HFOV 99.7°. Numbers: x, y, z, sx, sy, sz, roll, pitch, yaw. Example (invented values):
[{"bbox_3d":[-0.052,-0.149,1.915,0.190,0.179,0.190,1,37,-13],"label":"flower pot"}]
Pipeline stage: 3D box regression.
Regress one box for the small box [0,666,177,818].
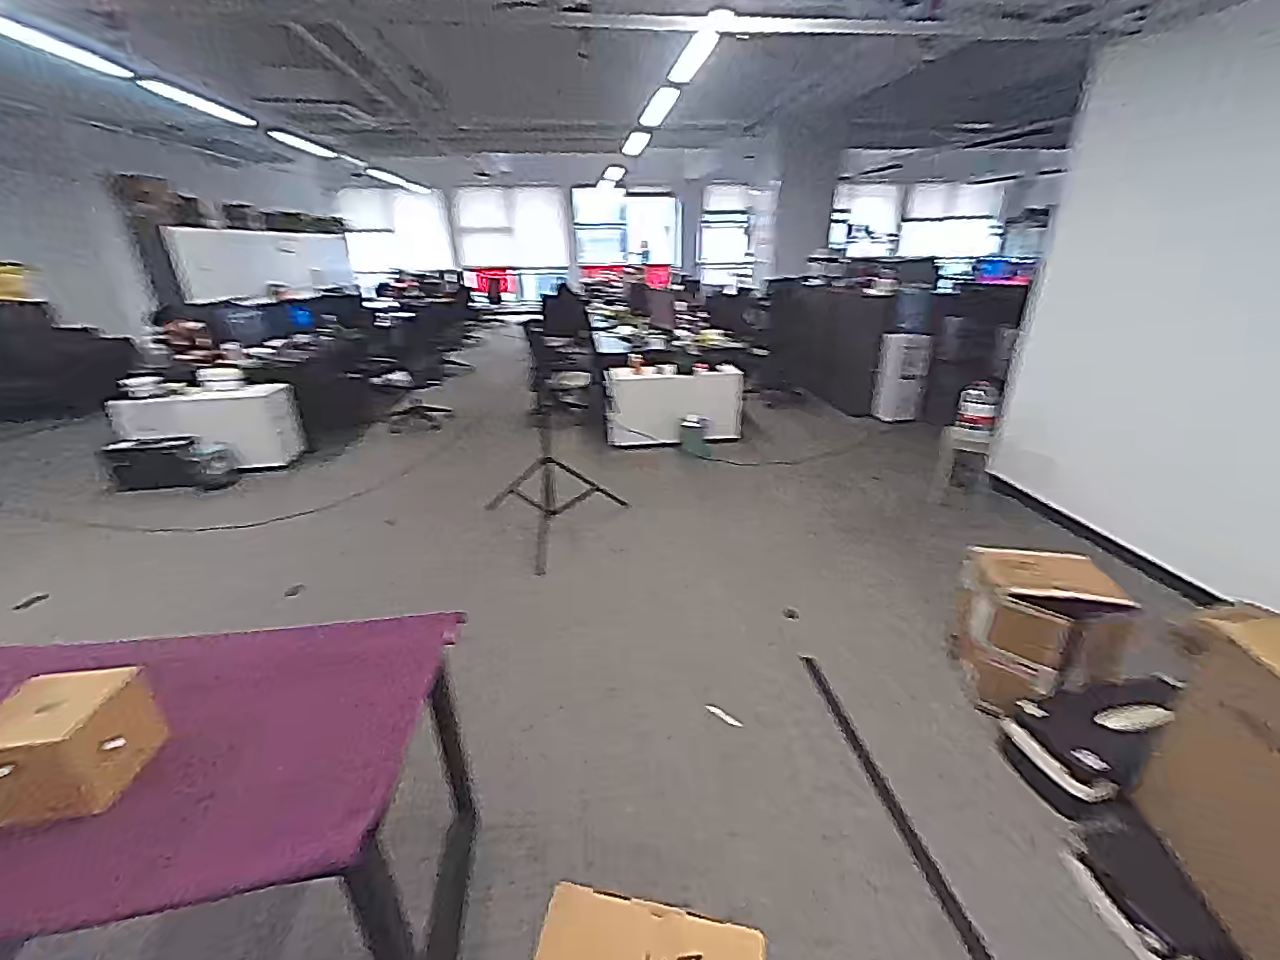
[{"bbox_3d":[-0.969,0.453,0.941,0.179,0.176,0.168,-4,24,-5],"label":"small box"}]
